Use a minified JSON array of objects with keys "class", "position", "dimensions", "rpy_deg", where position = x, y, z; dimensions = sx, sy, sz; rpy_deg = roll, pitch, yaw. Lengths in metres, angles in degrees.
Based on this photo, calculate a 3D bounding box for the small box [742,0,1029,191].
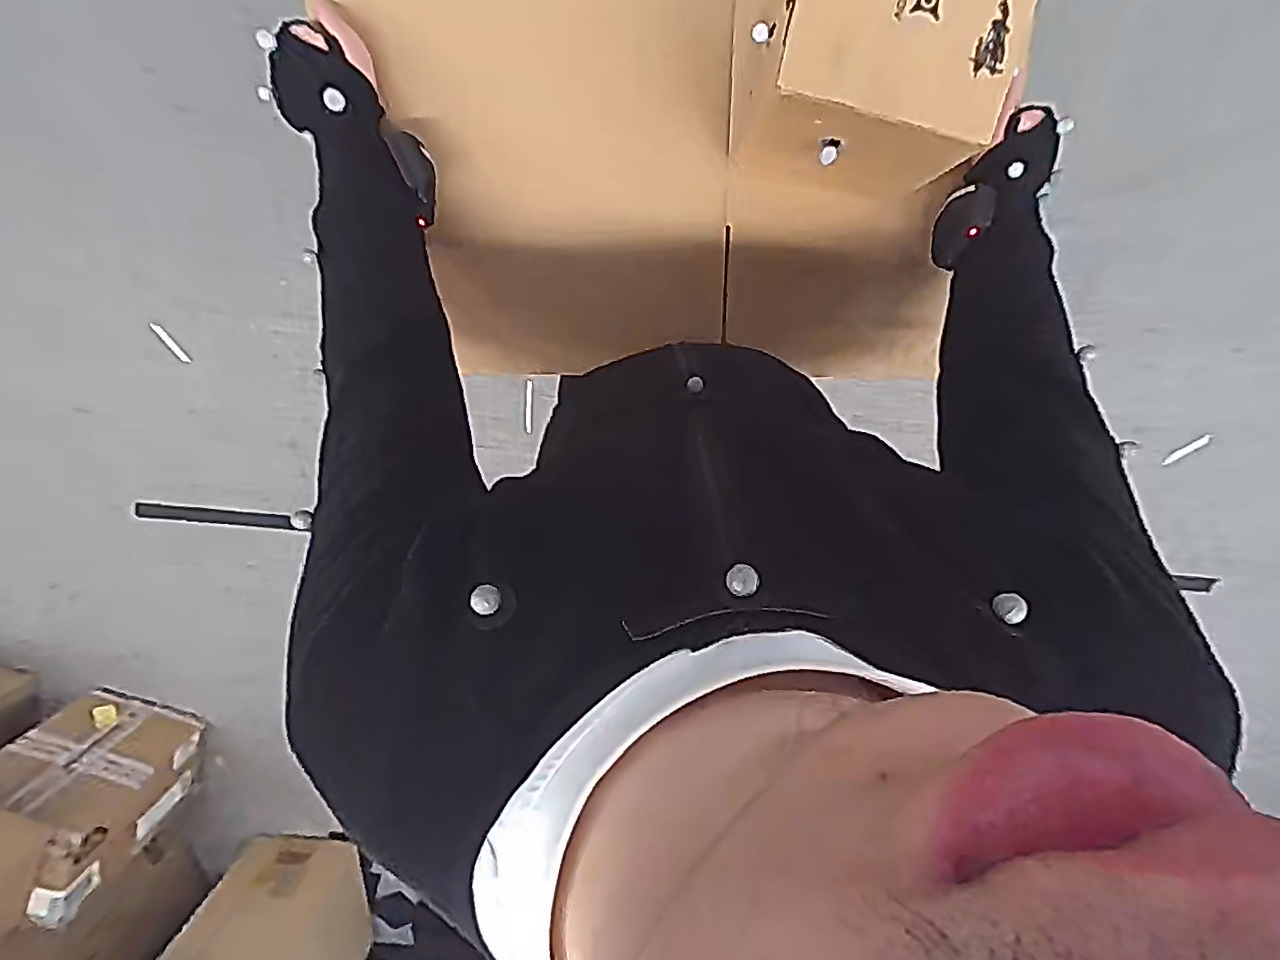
[{"class":"small box","position":[0.201,-0.379,0.476],"dimensions":[0.179,0.176,0.168],"rpy_deg":[12,103,-3]}]
